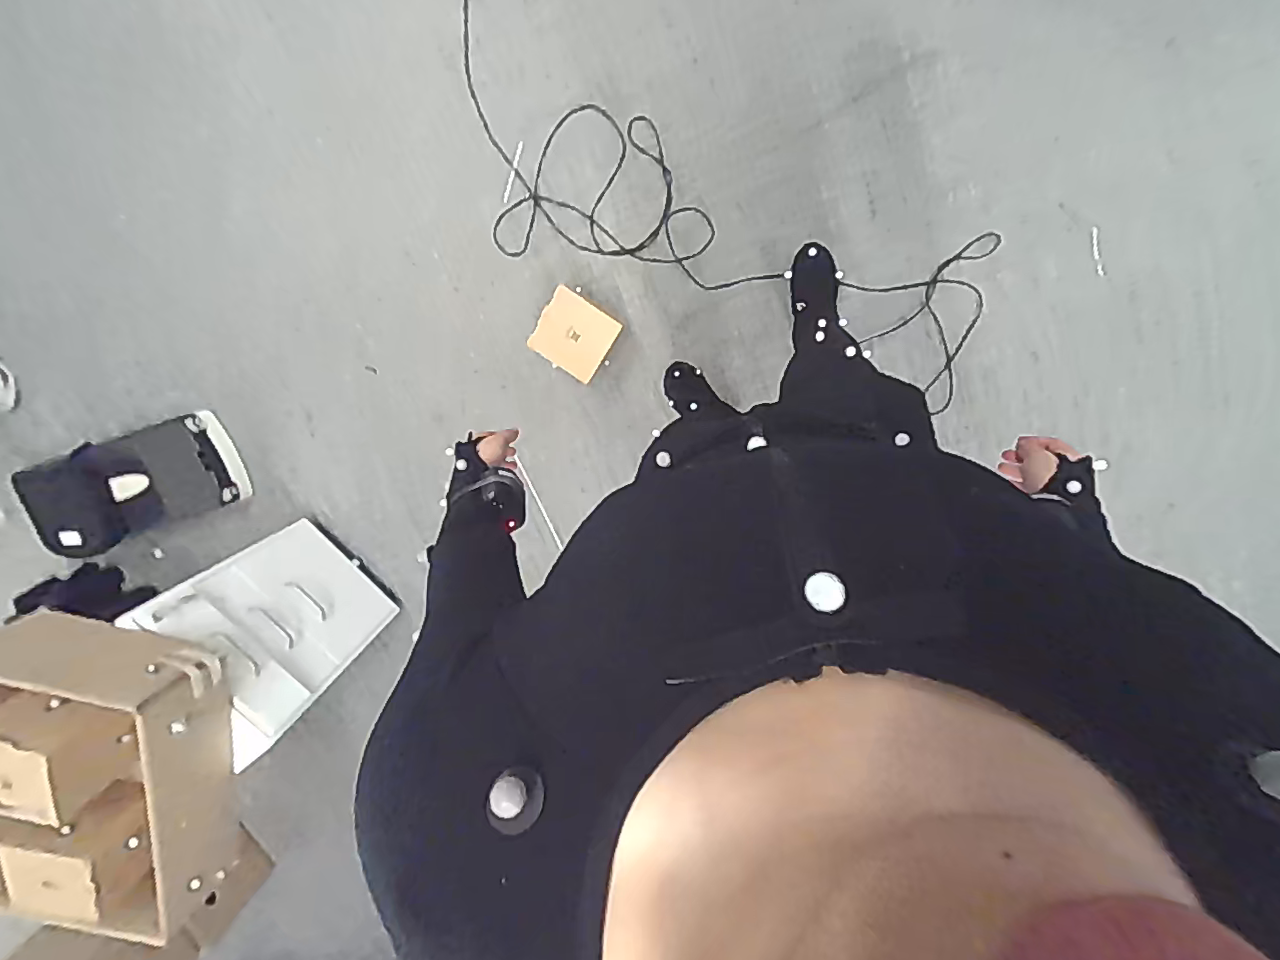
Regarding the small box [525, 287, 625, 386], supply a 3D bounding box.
[{"bbox_3d":[-0.153,-0.360,1.344,0.179,0.176,0.168,32,107,-5],"label":"small box"}]
